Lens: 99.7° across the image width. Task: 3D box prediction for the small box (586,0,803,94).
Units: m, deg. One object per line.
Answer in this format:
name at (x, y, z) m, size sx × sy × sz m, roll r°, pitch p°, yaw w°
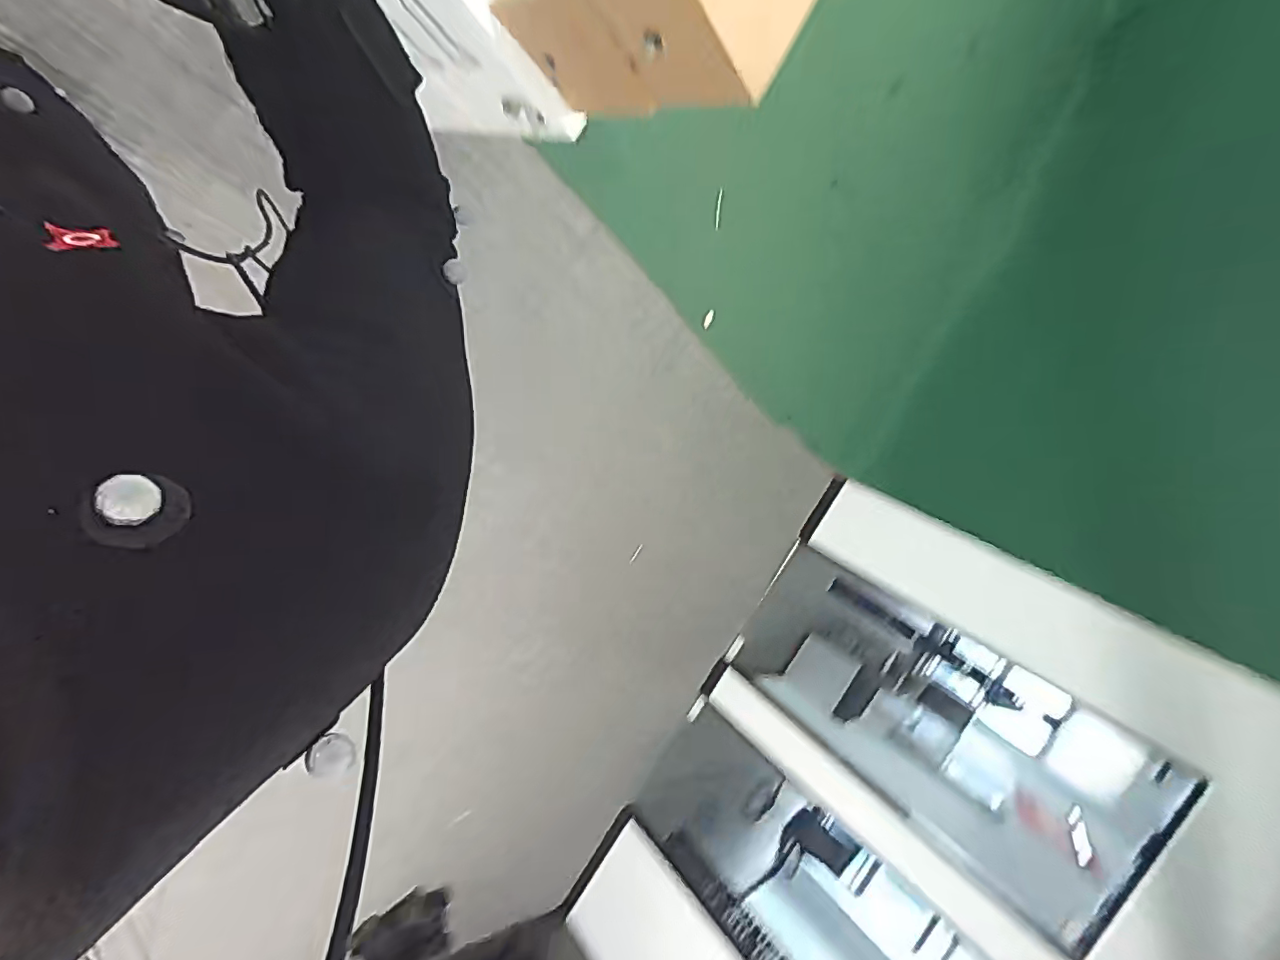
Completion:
small box at (0.055, -0.527, 0.541) m, size 0.168 × 0.176 × 0.179 m, roll 23°, pitch 99°, yaw -51°
